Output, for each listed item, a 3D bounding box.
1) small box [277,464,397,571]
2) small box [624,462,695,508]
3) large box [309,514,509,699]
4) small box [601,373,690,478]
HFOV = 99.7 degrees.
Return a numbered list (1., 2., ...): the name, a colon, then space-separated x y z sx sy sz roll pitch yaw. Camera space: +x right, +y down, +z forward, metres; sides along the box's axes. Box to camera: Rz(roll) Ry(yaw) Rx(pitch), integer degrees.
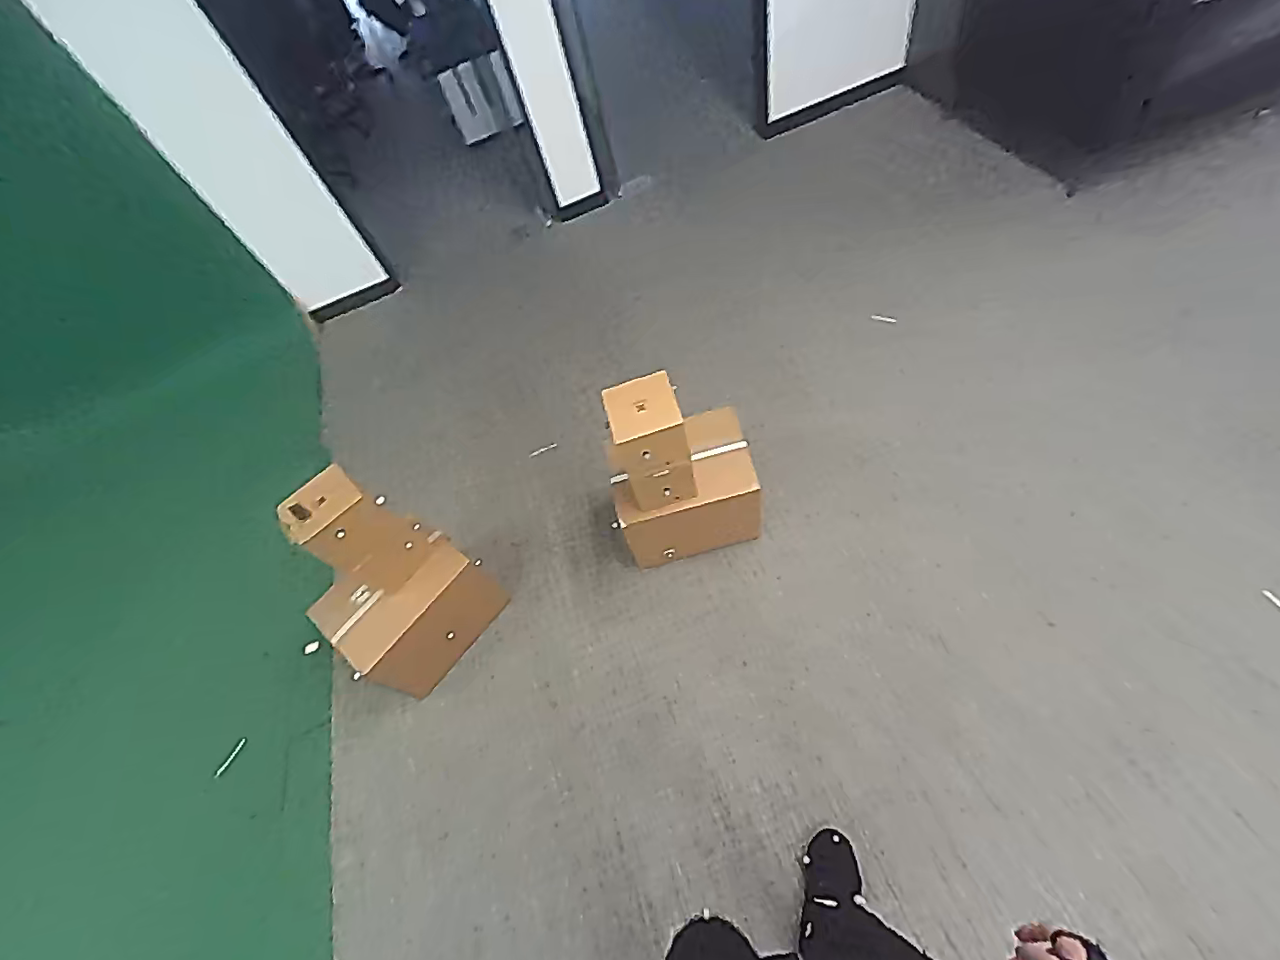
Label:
1. small box: -0.761 0.099 1.372 0.179 0.176 0.168 -43 59 -15
2. small box: 0.046 -0.040 1.469 0.168 0.176 0.179 -17 57 2
3. large box: -0.686 0.389 1.666 0.320 0.320 0.408 29 70 29
4. small box: 0.017 -0.125 1.333 0.168 0.176 0.179 -18 55 2
